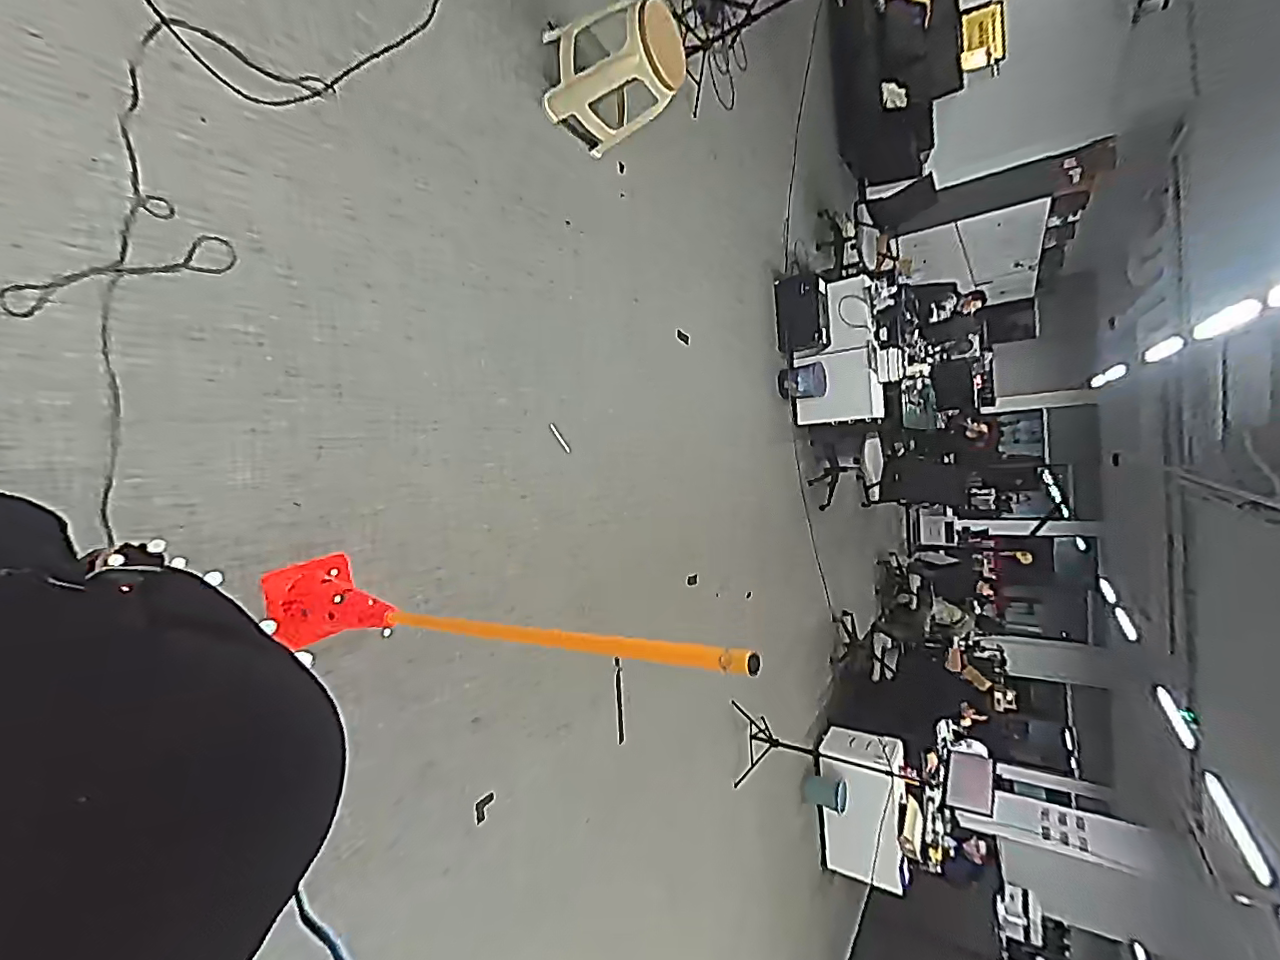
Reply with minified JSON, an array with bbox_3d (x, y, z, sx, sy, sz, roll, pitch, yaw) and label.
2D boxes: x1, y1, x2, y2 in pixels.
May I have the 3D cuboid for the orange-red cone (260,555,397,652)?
[{"bbox_3d":[-0.660,0.288,1.212,0.199,0.360,0.198,-16,100,-53],"label":"orange-red cone"}]
